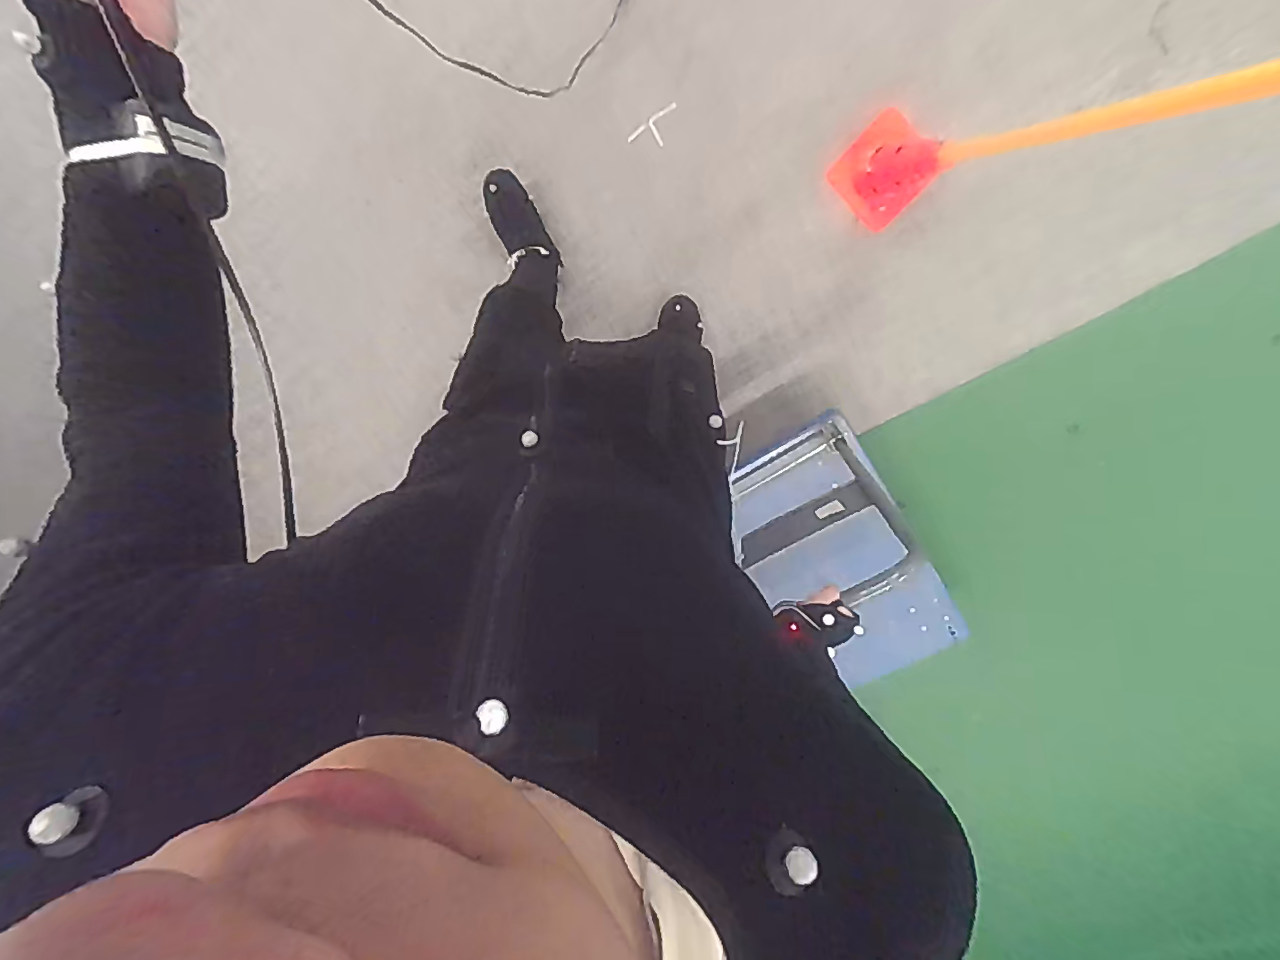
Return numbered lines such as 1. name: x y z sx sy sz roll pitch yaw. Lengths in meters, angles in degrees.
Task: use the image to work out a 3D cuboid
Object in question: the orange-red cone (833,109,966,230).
1. orange-red cone: 0.580 -0.663 1.133 0.198 0.360 0.199 41 110 -15
